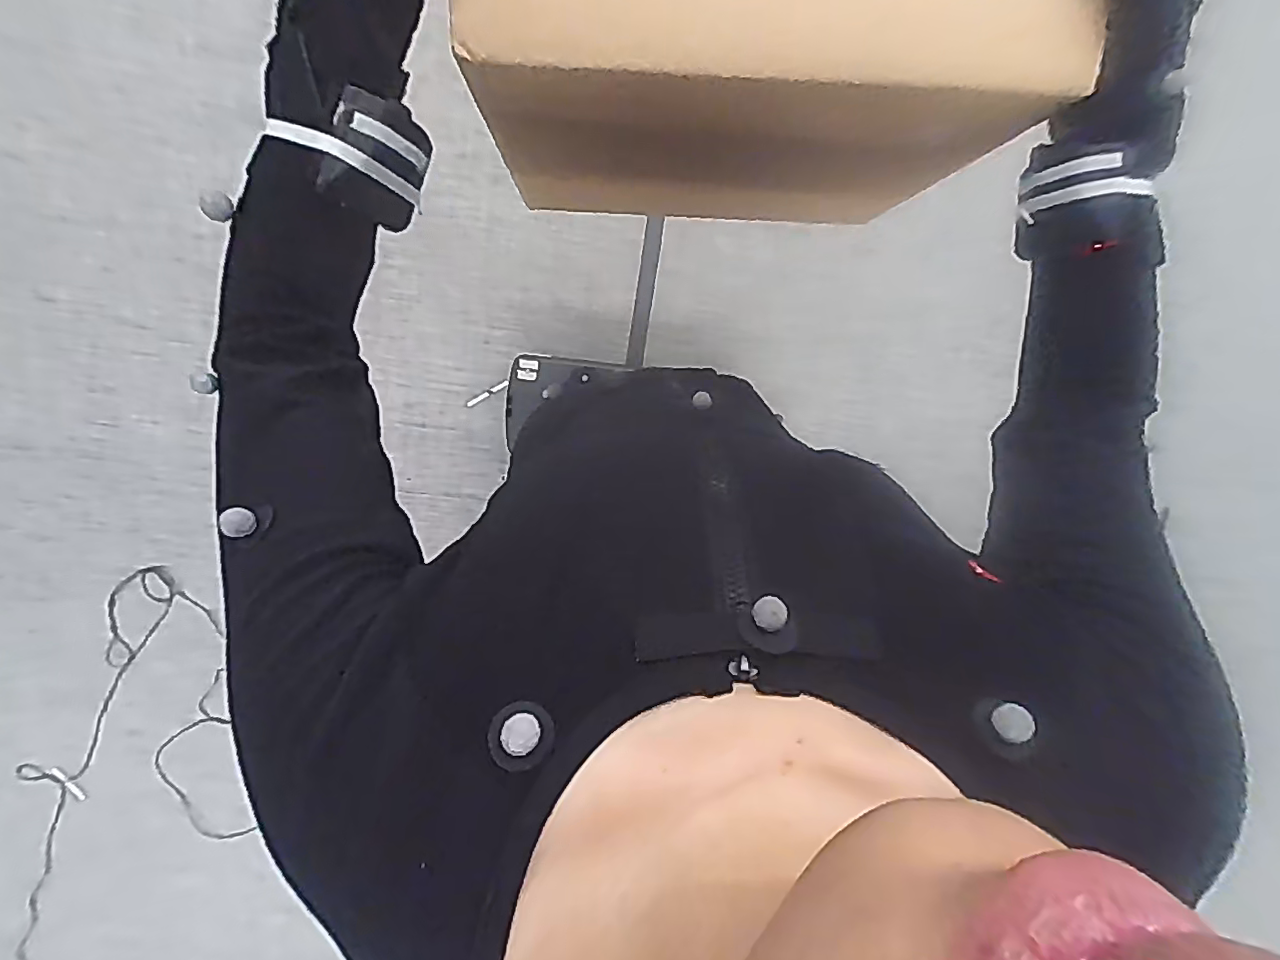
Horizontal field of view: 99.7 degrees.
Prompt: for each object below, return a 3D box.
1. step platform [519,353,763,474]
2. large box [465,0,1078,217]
[{"bbox_3d":[0.001,-0.189,1.550,0.684,0.204,0.286,5,100,-6],"label":"step platform"},{"bbox_3d":[0.078,-0.437,0.467,0.408,0.320,0.320,0,102,-5],"label":"large box"}]
